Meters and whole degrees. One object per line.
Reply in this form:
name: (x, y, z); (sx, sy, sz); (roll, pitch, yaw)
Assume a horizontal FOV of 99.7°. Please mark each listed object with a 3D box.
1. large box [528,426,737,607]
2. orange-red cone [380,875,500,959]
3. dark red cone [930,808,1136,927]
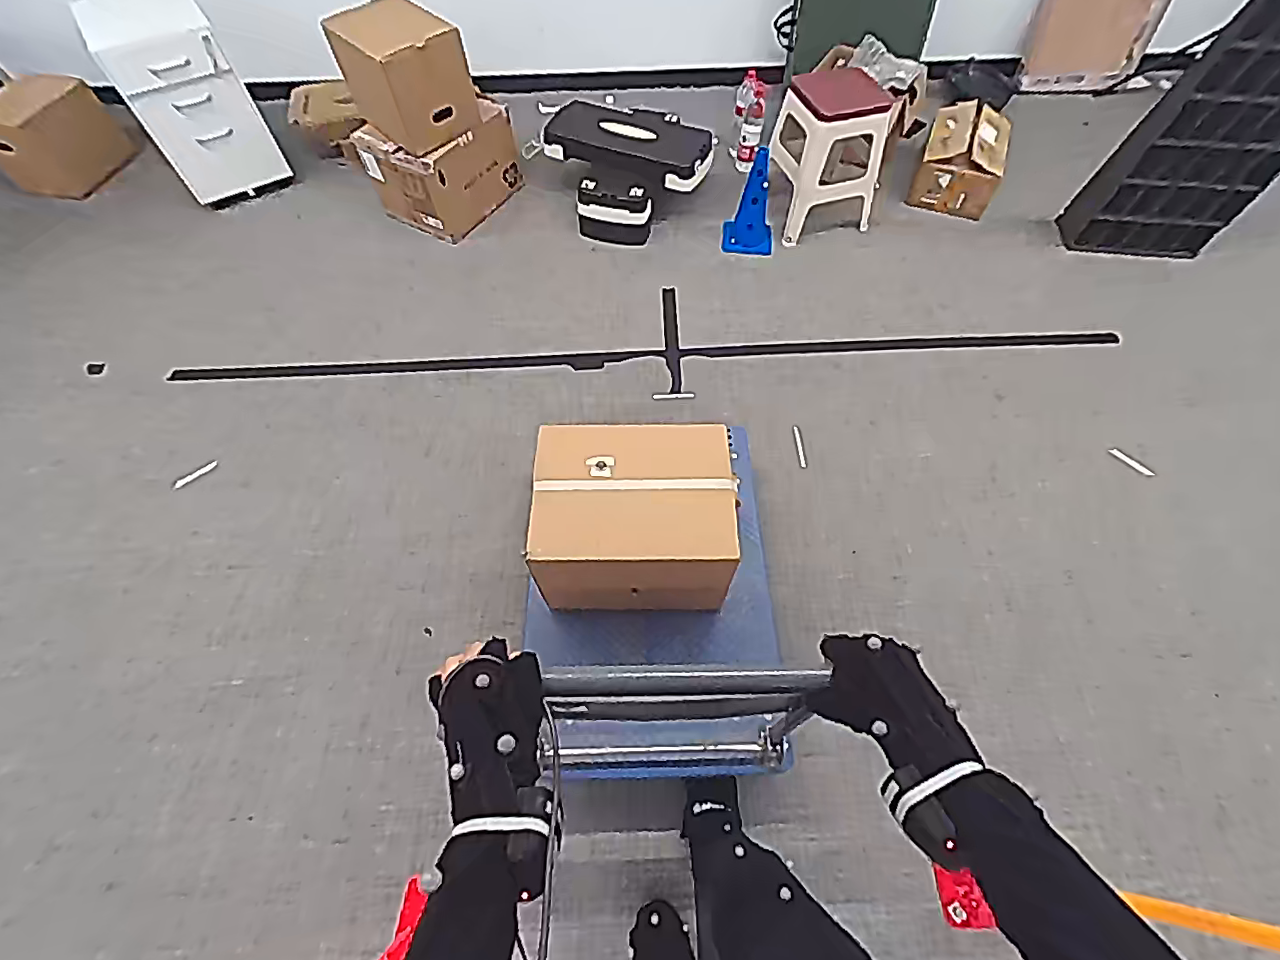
large box: (-0.013, 0.094, 1.222); (0.408, 0.320, 0.320); (-1, 59, 1)
orange-red cone: (-0.397, 0.844, 0.954); (0.198, 0.360, 0.199); (5, 58, 3)
dark red cone: (0.731, 0.722, 0.989); (0.201, 0.394, 0.202); (-1, 60, -2)
